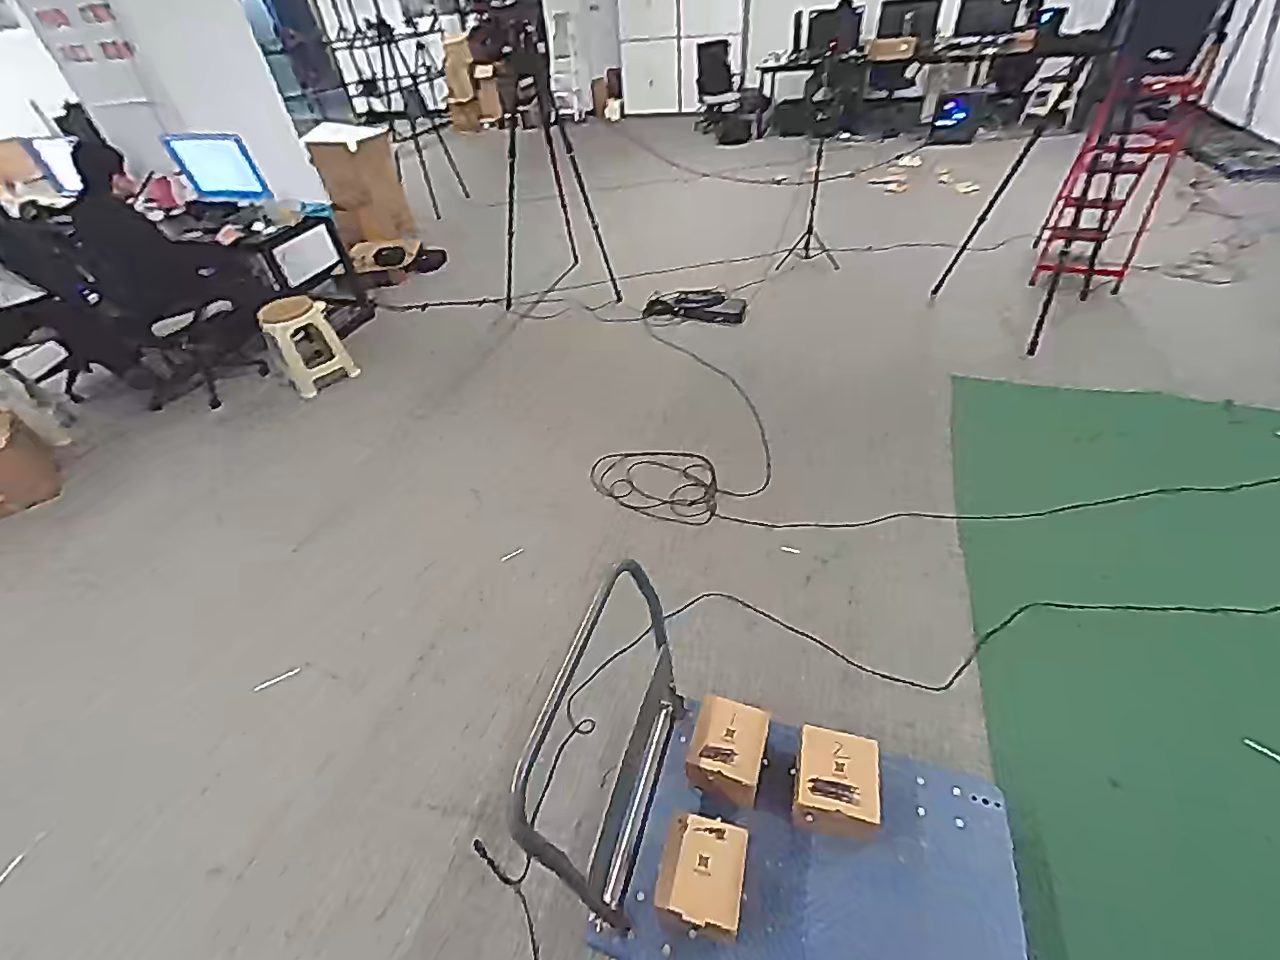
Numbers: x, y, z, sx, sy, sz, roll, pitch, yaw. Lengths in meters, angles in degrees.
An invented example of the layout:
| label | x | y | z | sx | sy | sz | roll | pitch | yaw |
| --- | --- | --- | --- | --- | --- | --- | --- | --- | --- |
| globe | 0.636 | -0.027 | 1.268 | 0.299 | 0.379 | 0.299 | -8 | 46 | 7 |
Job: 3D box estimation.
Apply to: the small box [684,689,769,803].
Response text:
| label | x | y | z | sx | sy | sz | roll | pitch | yaw |
| --- | --- | --- | --- | --- | --- | --- | --- | --- | --- |
| small box | 0.213 | 0.651 | 1.319 | 0.168 | 0.176 | 0.179 | 12 | 45 | 18 |

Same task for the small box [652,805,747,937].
| label | x | y | z | sx | sy | sz | roll | pitch | yaw |
| --- | --- | --- | --- | --- | --- | --- | --- | --- | --- |
| small box | 0.131 | 0.827 | 1.142 | 0.168 | 0.176 | 0.179 | 8 | 46 | 14 |
